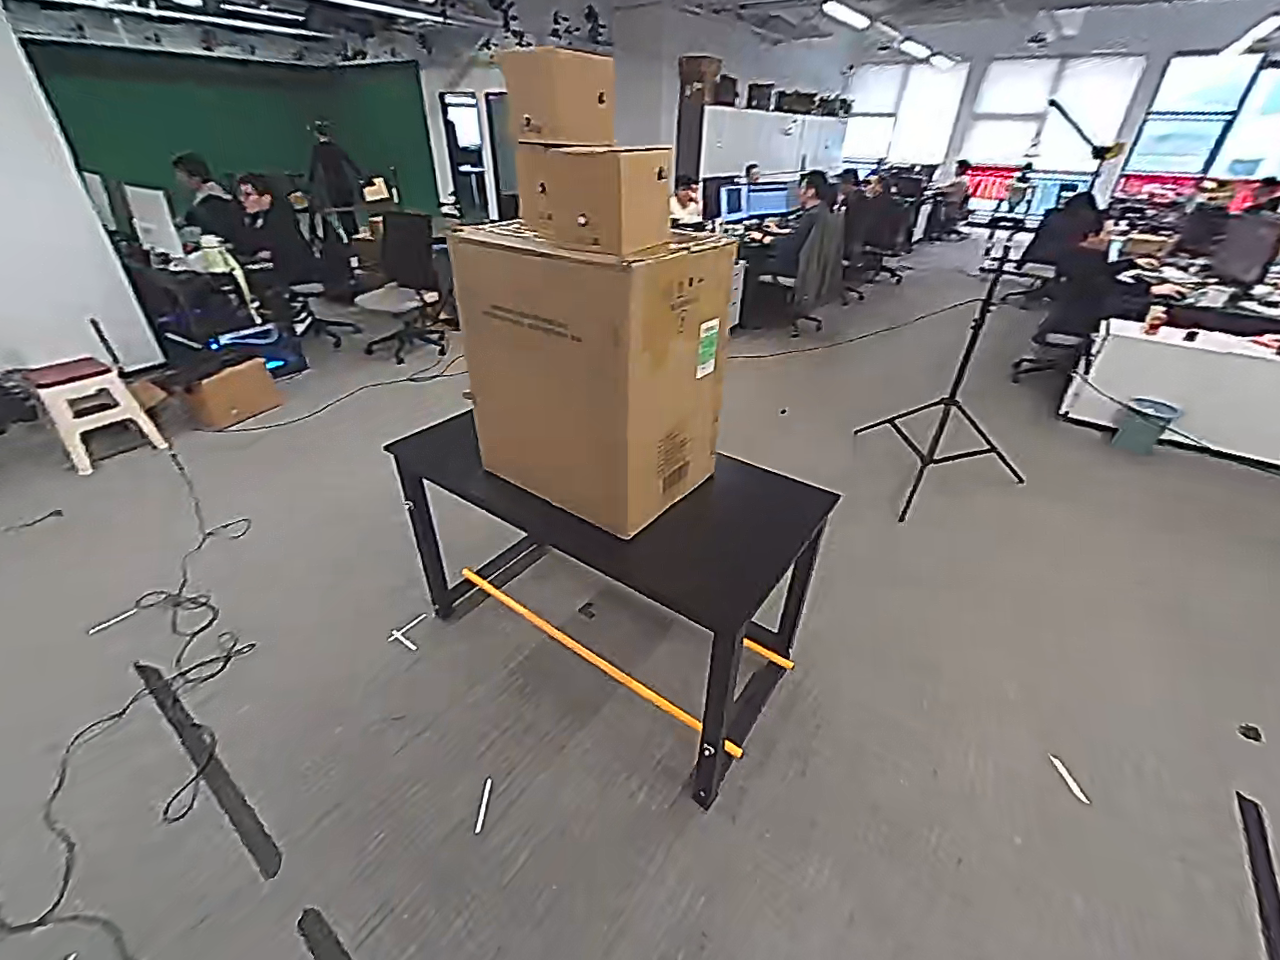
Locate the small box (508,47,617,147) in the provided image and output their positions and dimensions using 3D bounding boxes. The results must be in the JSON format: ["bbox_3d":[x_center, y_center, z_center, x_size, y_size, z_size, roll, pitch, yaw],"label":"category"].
[{"bbox_3d":[-0.168,-0.836,1.194,0.168,0.176,0.179,24,39,31],"label":"small box"}]

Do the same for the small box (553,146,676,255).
[{"bbox_3d":[-0.046,-0.542,1.042,0.168,0.176,0.179,19,38,28],"label":"small box"}]

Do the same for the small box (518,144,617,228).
[{"bbox_3d":[-0.167,-0.706,1.295,0.168,0.176,0.179,24,39,29],"label":"small box"}]
